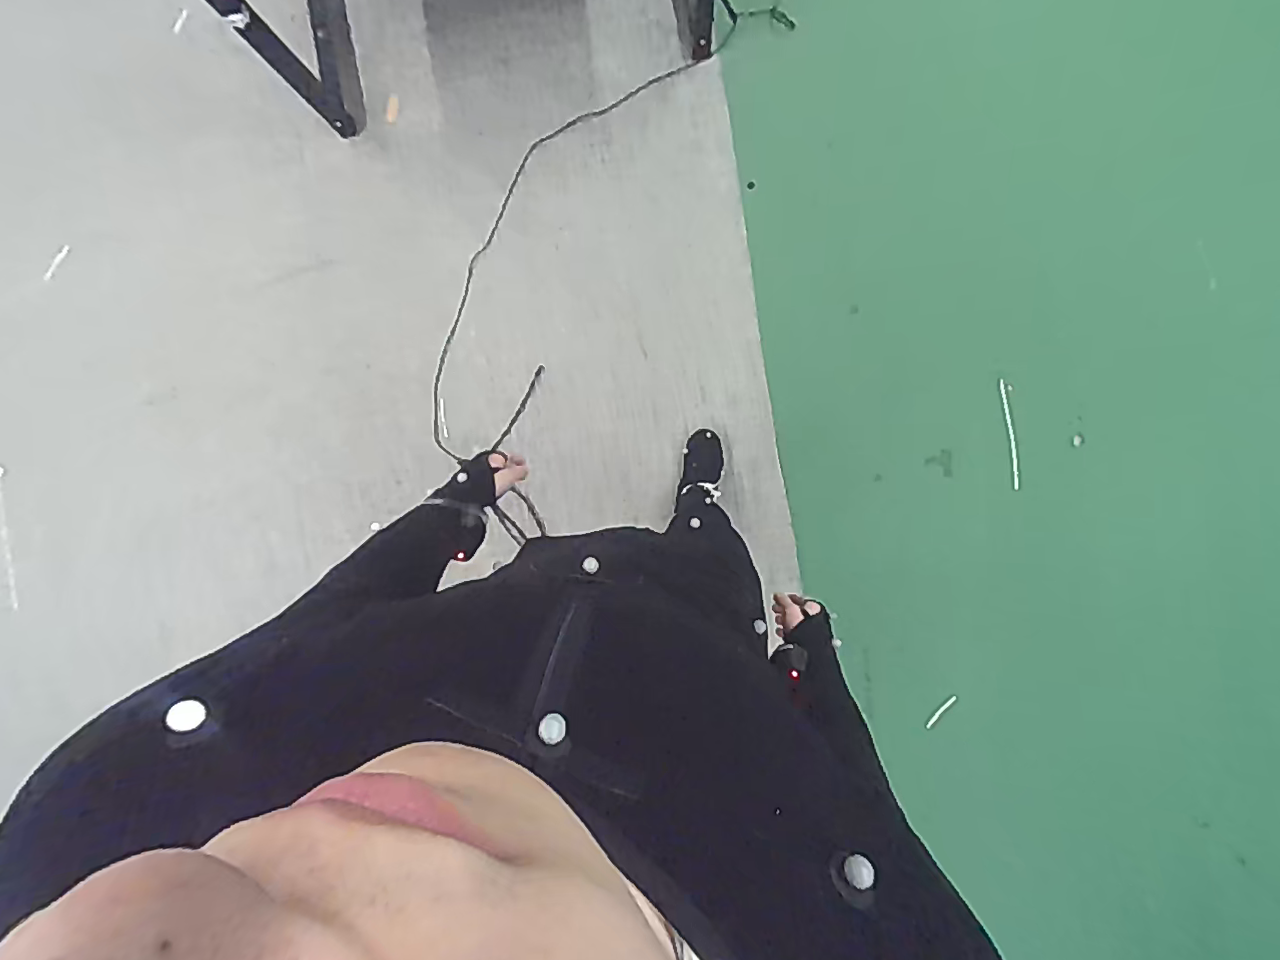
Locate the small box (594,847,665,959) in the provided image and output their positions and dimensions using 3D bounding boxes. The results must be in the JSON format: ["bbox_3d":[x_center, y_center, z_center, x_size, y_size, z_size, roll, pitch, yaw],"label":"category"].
[{"bbox_3d":[-0.022,1.073,1.379,0.168,0.176,0.179,-2,91,5],"label":"small box"}]
